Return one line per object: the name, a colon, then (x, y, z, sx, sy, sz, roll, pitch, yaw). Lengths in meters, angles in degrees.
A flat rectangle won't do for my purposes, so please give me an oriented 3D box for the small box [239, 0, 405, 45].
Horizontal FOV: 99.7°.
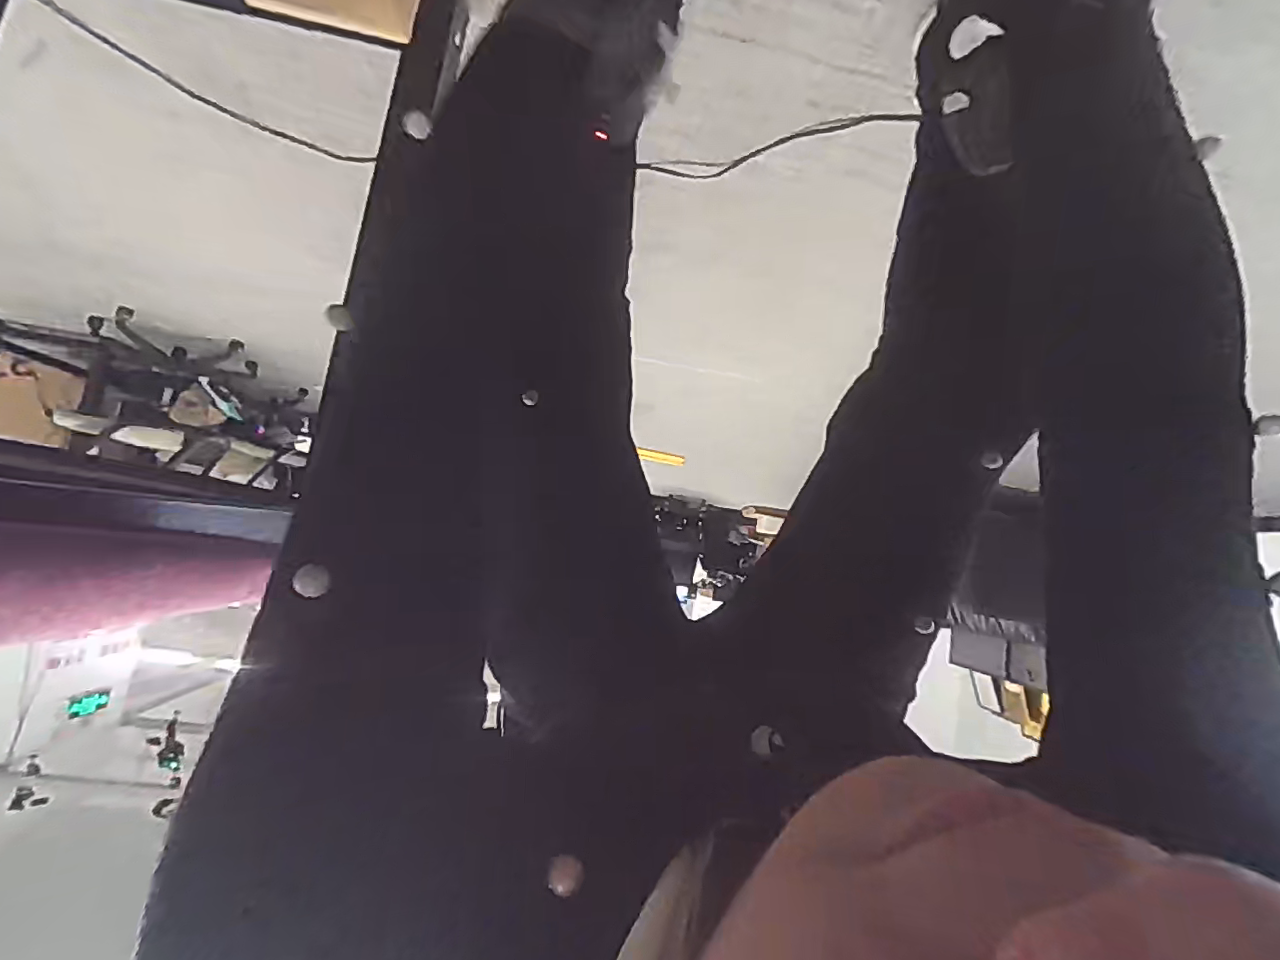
small box: (-0.307, -0.562, 0.489, 0.168, 0.176, 0.179, 10, 172, -5)
